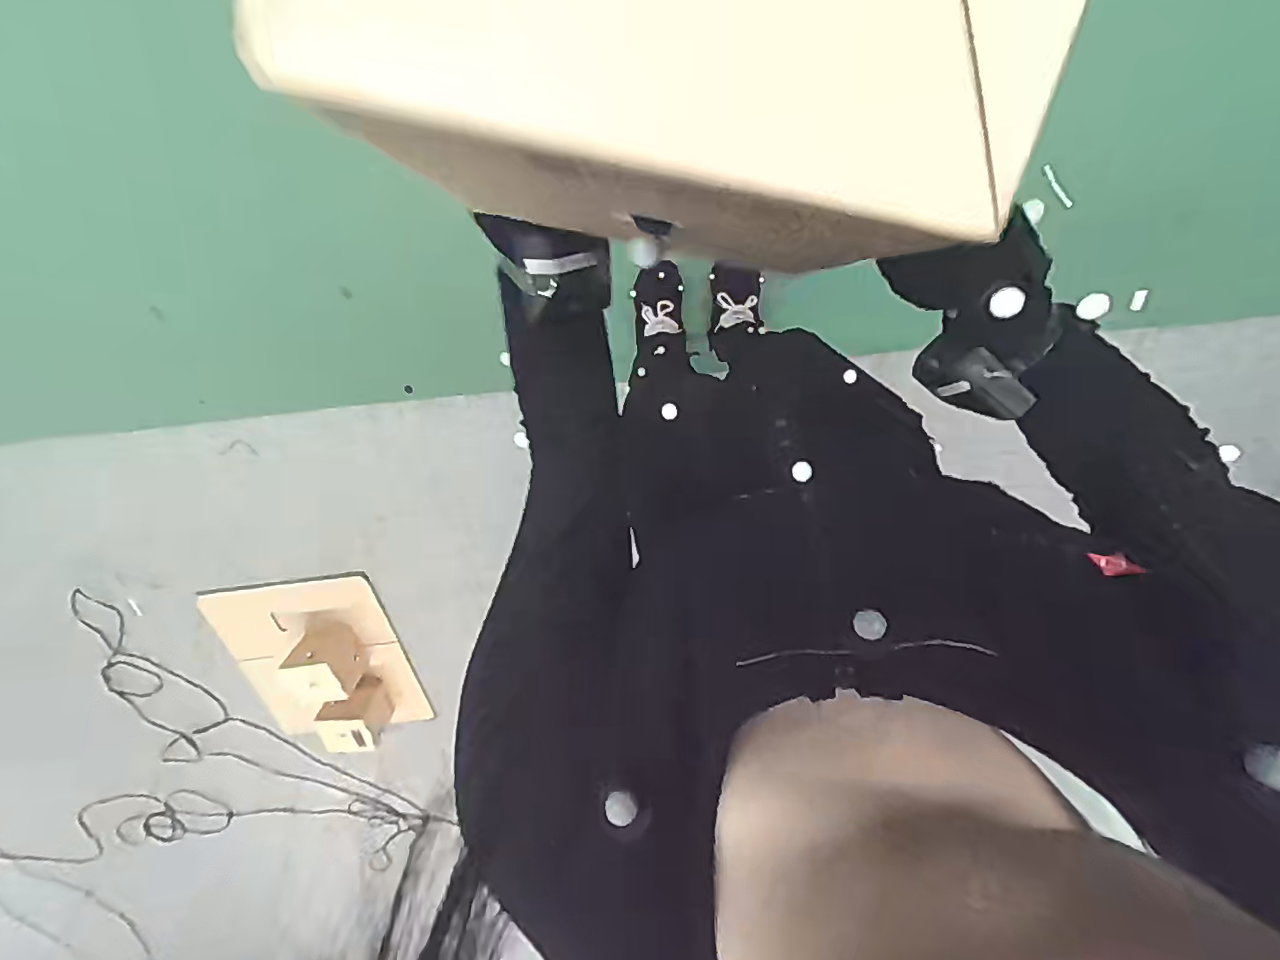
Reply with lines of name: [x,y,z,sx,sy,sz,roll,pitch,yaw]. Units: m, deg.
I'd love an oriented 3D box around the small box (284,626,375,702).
small box: [-1.035,0.614,1.816,0.179,0.176,0.168,-10,117,5]

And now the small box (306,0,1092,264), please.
small box: [0.016,-0.170,0.165,0.168,0.176,0.179,7,112,-5]
